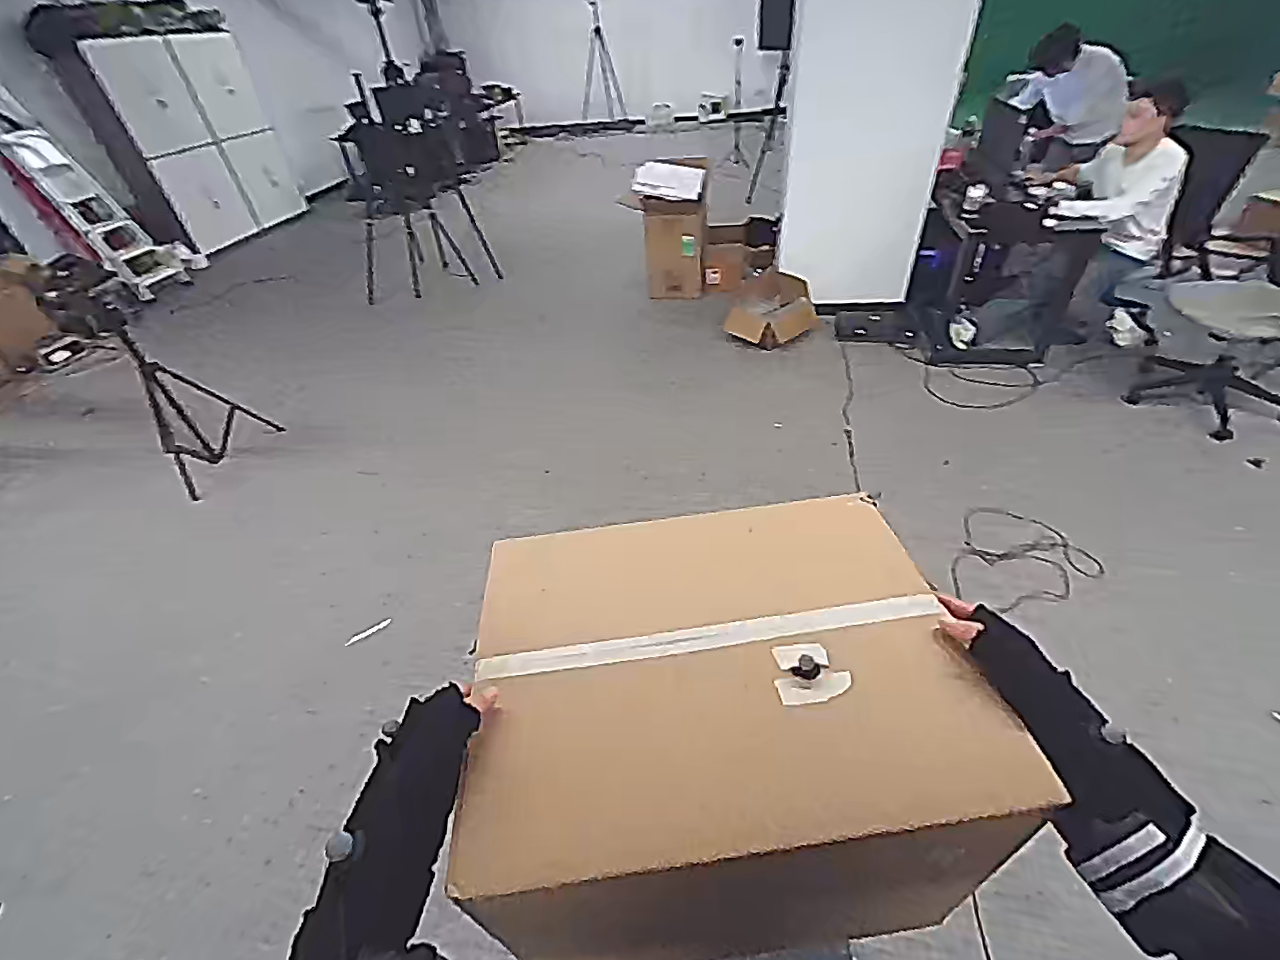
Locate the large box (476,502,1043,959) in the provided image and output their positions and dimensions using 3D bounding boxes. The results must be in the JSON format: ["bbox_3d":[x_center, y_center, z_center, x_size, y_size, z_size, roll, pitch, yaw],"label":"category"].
[{"bbox_3d":[0.079,0.259,0.572,0.408,0.320,0.320,-7,39,-2],"label":"large box"}]
